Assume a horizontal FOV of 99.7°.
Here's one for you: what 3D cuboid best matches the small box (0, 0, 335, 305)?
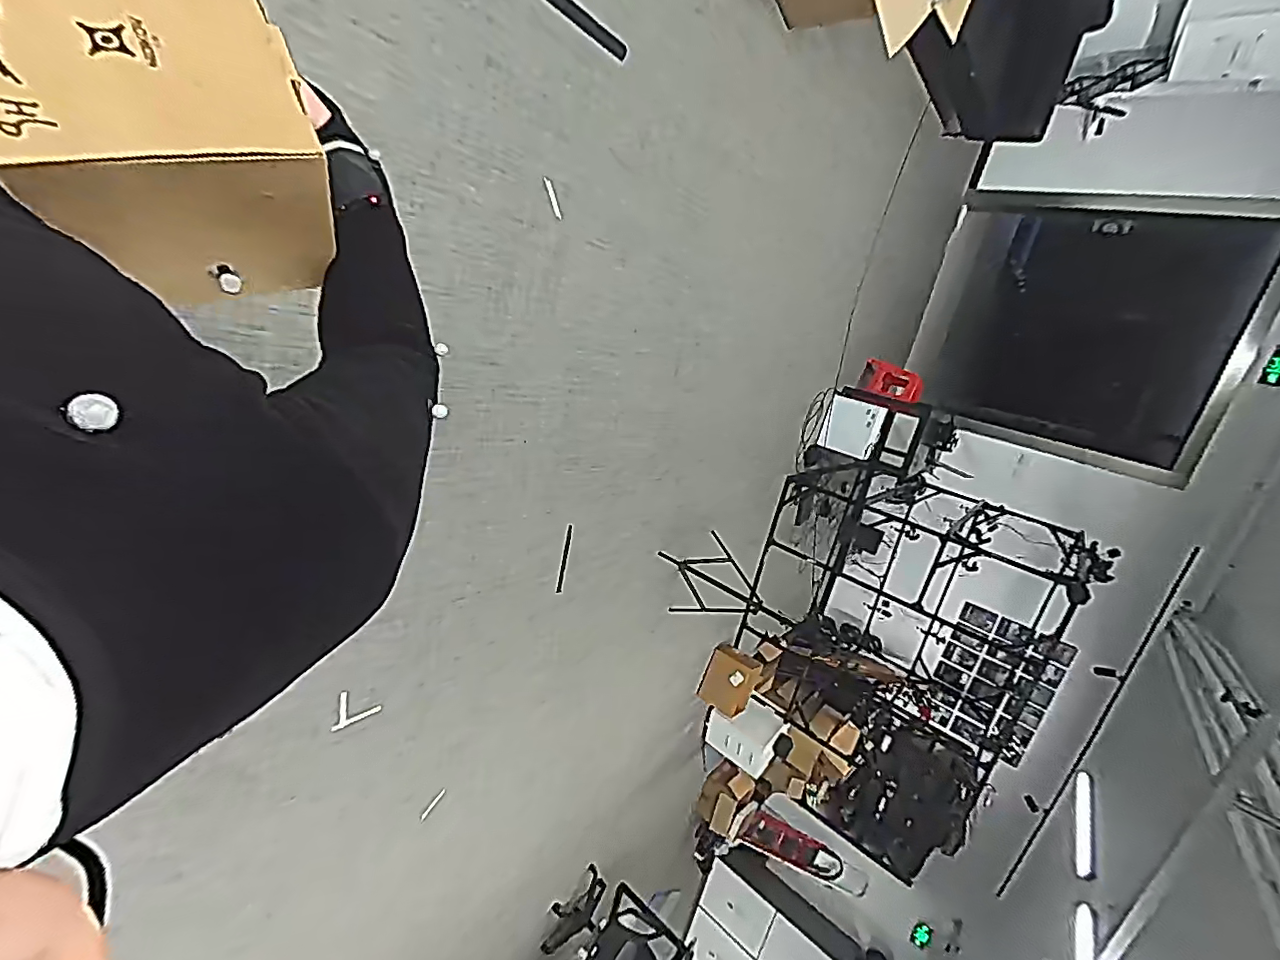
[{"bbox_3d":[-0.361,-0.263,0.428,0.179,0.176,0.168,-22,86,-29],"label":"small box"}]
